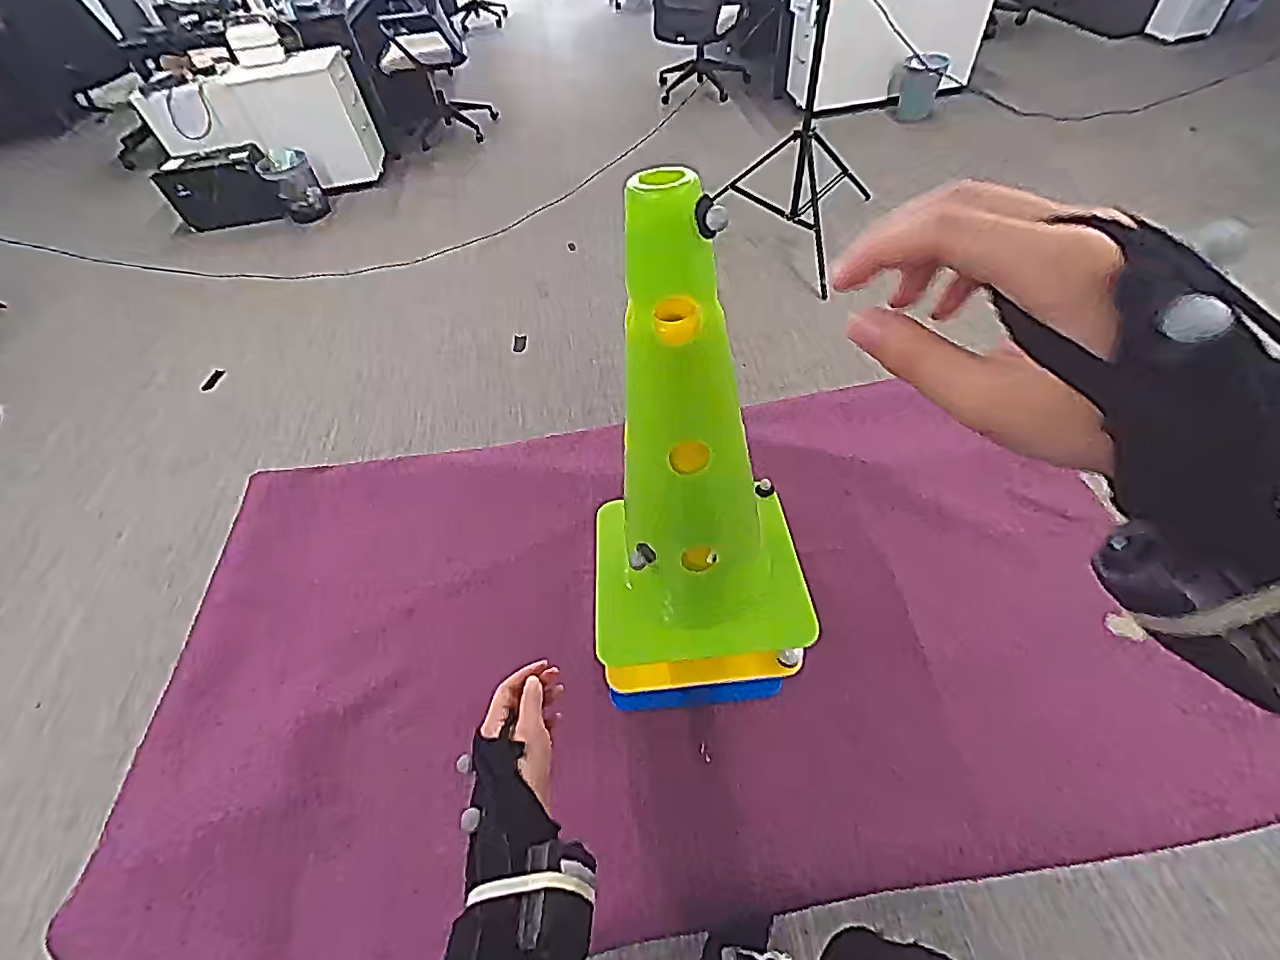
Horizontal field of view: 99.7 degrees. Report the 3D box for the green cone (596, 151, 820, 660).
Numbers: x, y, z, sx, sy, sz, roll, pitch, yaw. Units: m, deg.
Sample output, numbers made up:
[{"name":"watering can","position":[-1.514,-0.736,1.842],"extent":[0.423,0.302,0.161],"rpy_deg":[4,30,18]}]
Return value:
[{"name":"green cone","position":[0.033,-0.043,0.412],"extent":[0.200,0.368,0.202],"rpy_deg":[-8,45,3]}]
